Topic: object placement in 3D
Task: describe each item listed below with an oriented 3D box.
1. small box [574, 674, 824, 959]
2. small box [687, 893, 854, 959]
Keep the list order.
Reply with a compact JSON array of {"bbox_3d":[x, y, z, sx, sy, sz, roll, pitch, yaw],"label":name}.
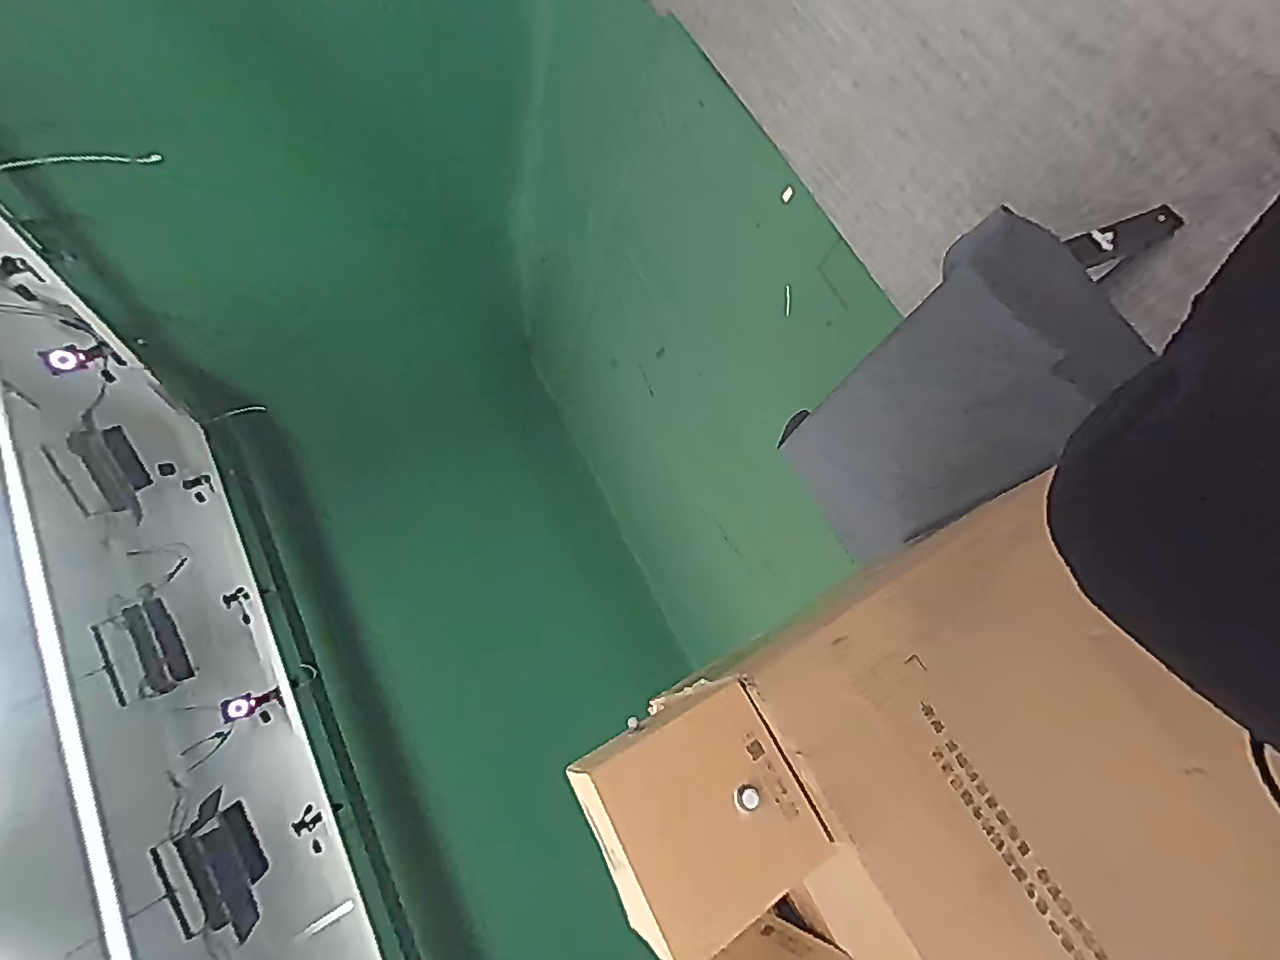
[{"bbox_3d":[0.050,0.321,0.552,0.168,0.176,0.179,60,155,17],"label":"small box"},{"bbox_3d":[0.143,0.583,0.549,0.168,0.176,0.179,-31,81,55],"label":"small box"}]
